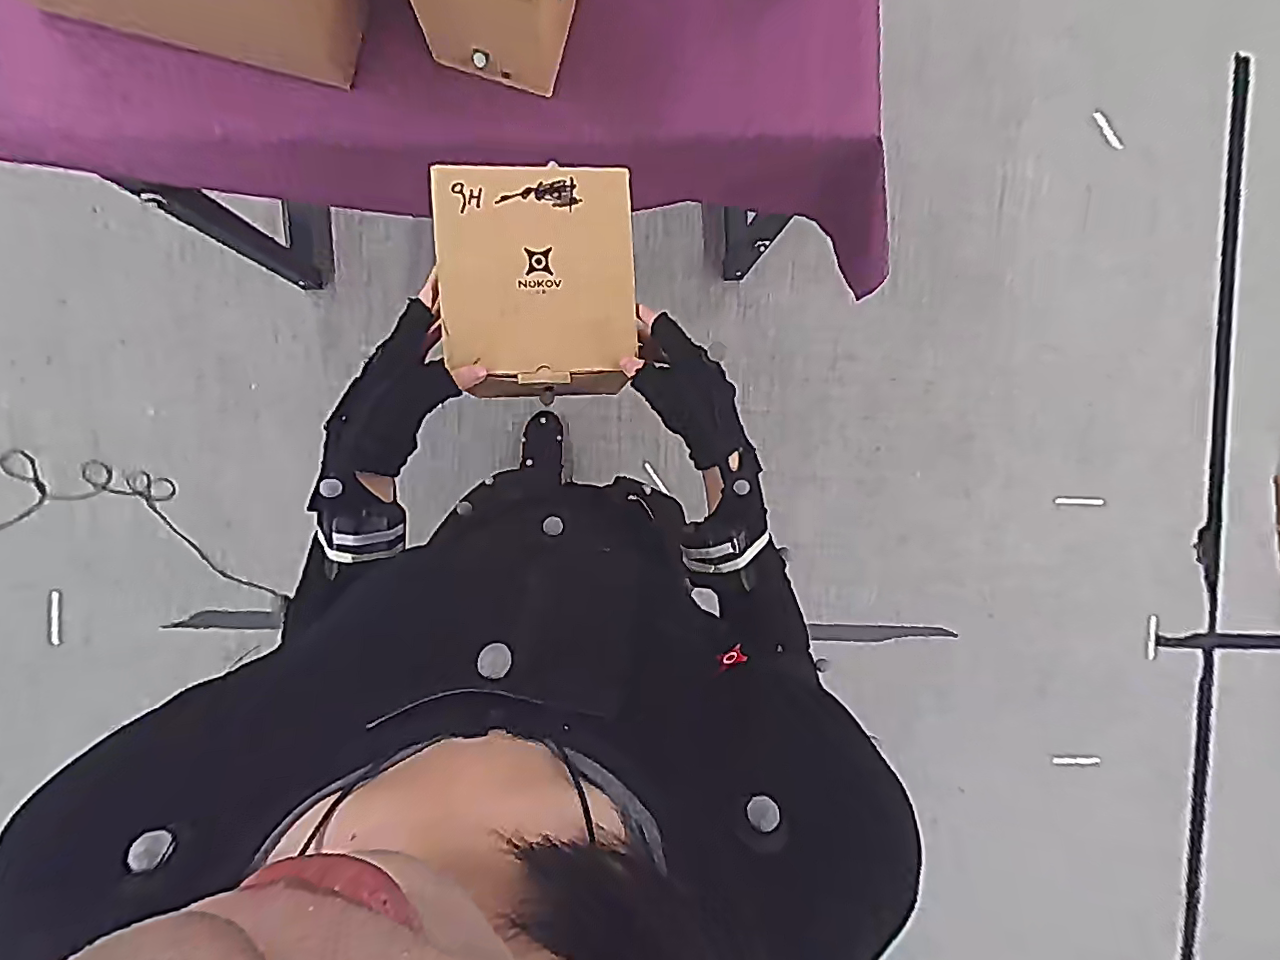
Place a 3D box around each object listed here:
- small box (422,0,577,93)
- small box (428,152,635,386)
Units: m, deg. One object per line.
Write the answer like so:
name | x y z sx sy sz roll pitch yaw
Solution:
small box | -0.171 -0.633 0.660 0.168 0.176 0.179 15 92 -5
small box | -0.096 -0.184 0.525 0.168 0.176 0.179 -3 94 -8
